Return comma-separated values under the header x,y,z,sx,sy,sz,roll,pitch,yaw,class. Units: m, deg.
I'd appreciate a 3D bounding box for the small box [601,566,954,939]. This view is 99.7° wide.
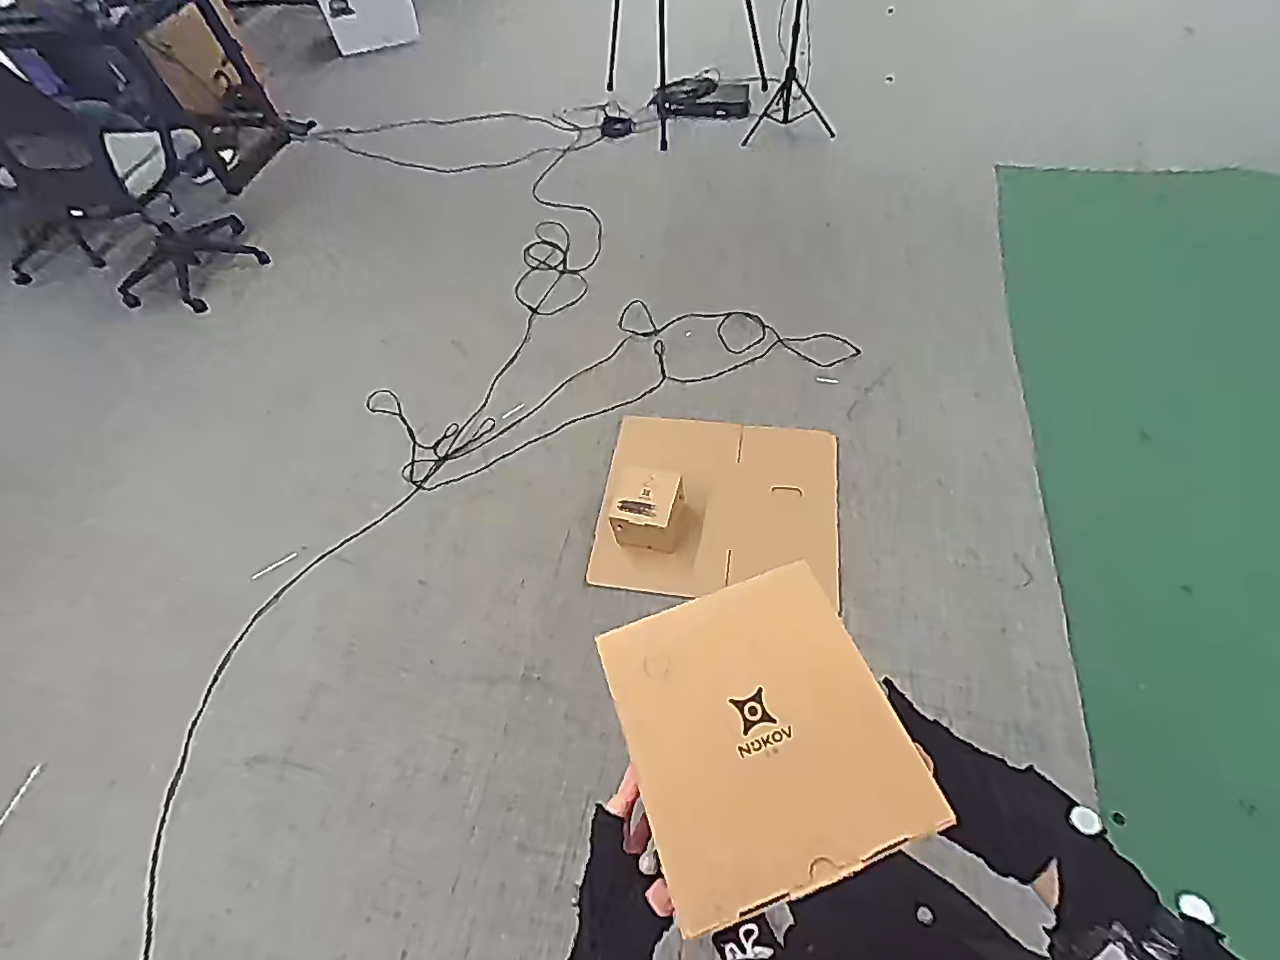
x,y,z,sx,sy,sz,roll,pitch,yaw,class
0.080,0.197,0.407,0.168,0.176,0.179,-19,57,-7,small box
